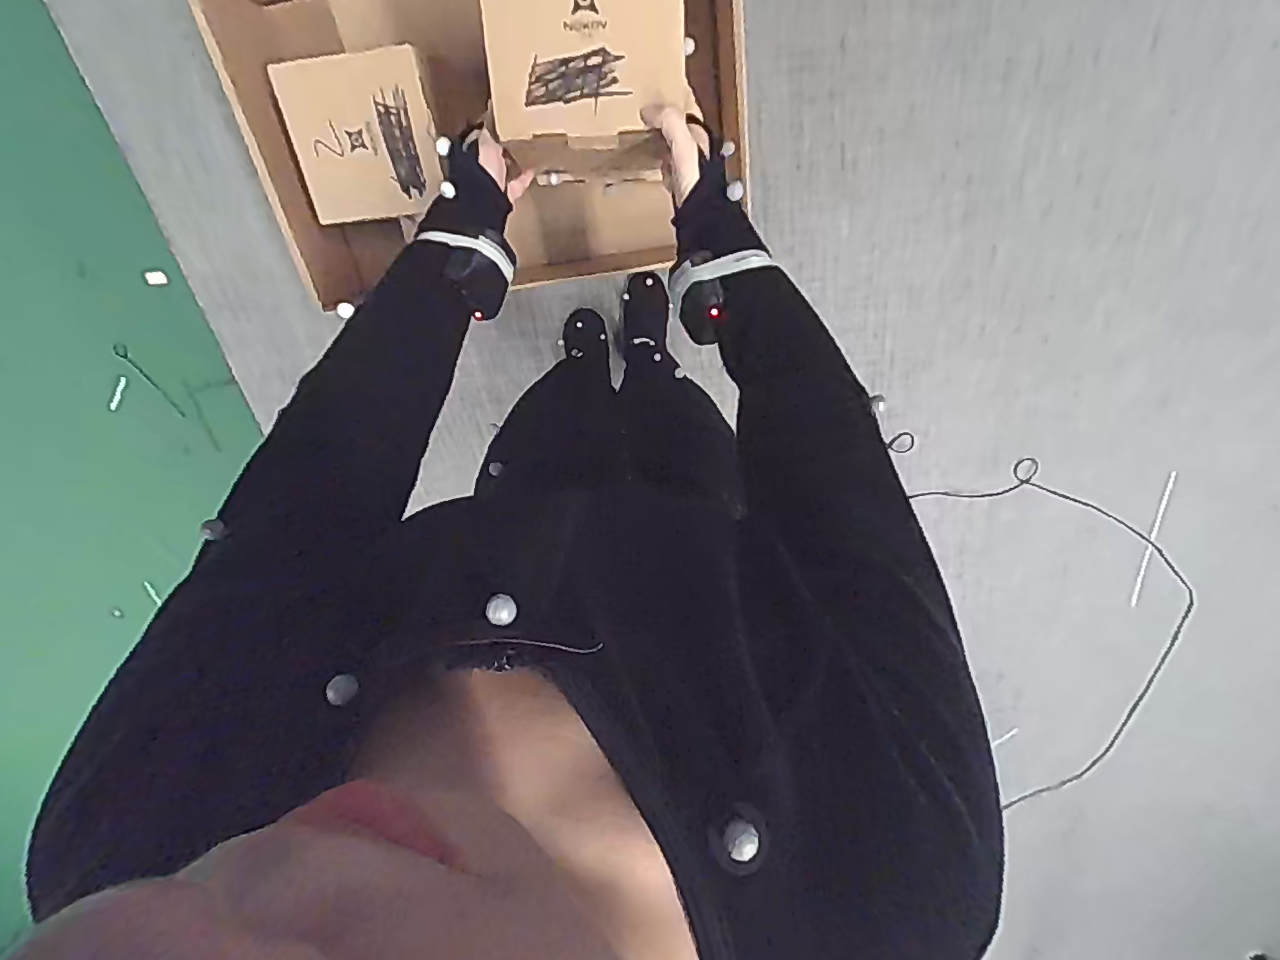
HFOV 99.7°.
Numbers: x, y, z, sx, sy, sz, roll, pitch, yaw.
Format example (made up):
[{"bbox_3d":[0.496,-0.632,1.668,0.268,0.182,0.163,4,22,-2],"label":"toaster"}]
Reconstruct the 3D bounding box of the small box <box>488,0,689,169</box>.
[{"bbox_3d":[-0.044,-0.407,0.516,0.168,0.176,0.179,-3,110,-3],"label":"small box"}]
